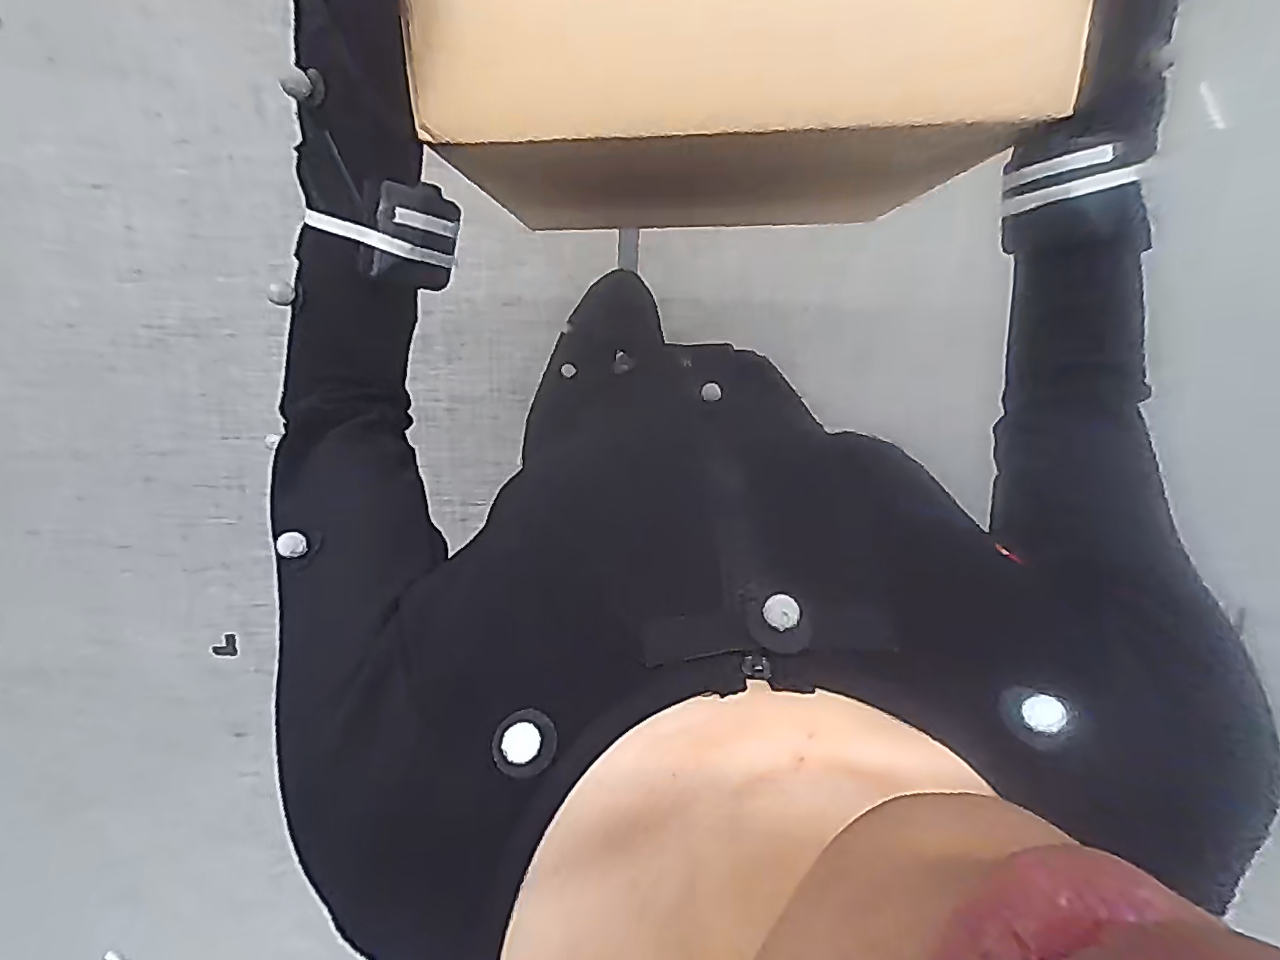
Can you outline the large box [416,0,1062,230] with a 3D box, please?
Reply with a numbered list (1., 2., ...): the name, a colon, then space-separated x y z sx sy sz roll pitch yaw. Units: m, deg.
1. large box: 0.057 -0.415 0.455 0.408 0.320 0.320 -1 105 1
